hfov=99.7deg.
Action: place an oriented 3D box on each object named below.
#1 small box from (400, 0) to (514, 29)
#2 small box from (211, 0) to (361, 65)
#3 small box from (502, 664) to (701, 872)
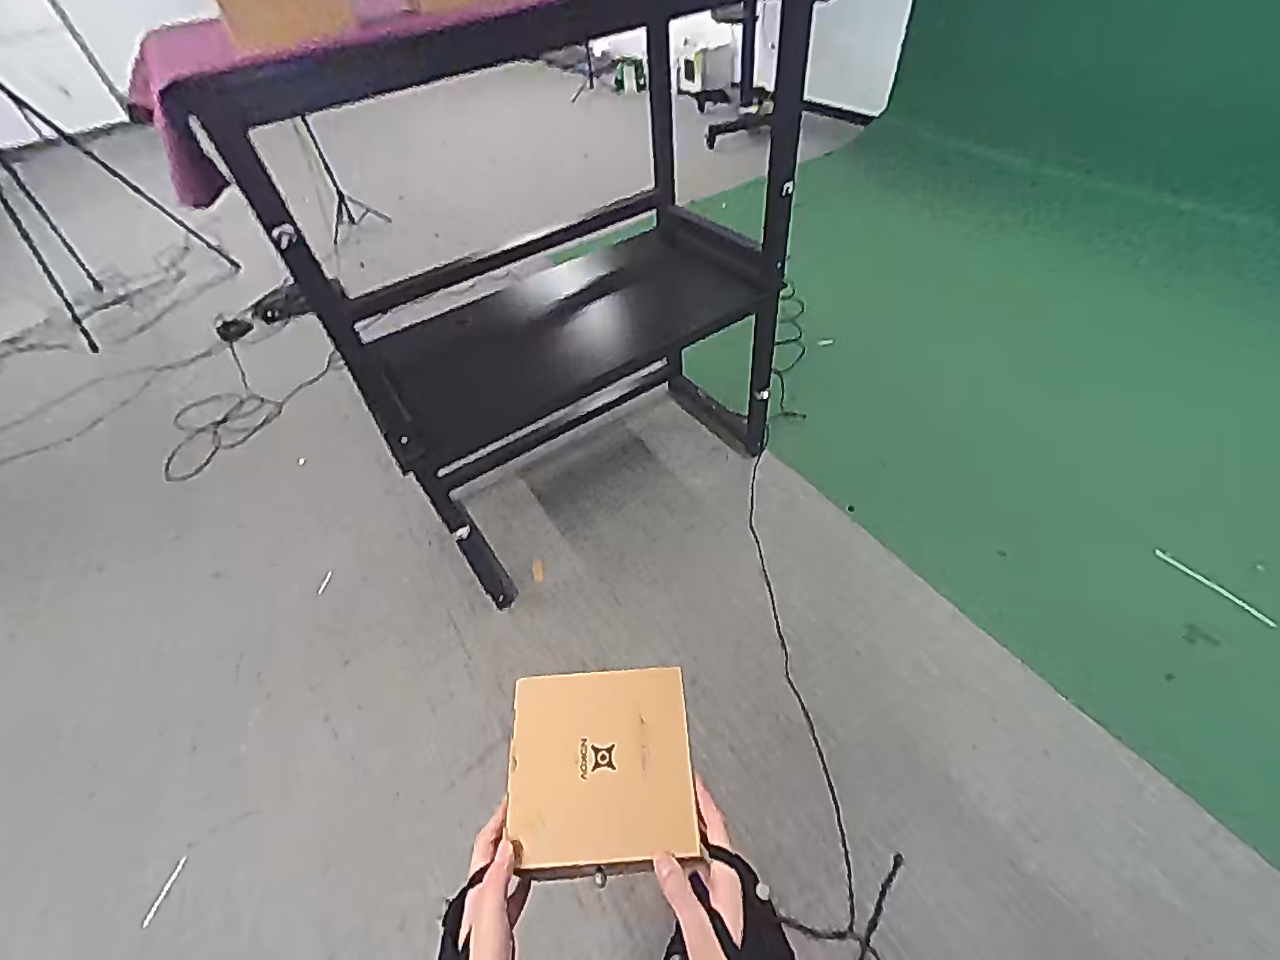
[{"bbox_3d":[-0.323,-0.878,0.896,0.179,0.176,0.168,-27,50,-15],"label":"small box"},{"bbox_3d":[-0.553,-0.744,0.804,0.179,0.176,0.168,-28,51,-17],"label":"small box"},{"bbox_3d":[-0.032,0.309,0.576,0.179,0.176,0.168,-2,51,0],"label":"small box"}]
